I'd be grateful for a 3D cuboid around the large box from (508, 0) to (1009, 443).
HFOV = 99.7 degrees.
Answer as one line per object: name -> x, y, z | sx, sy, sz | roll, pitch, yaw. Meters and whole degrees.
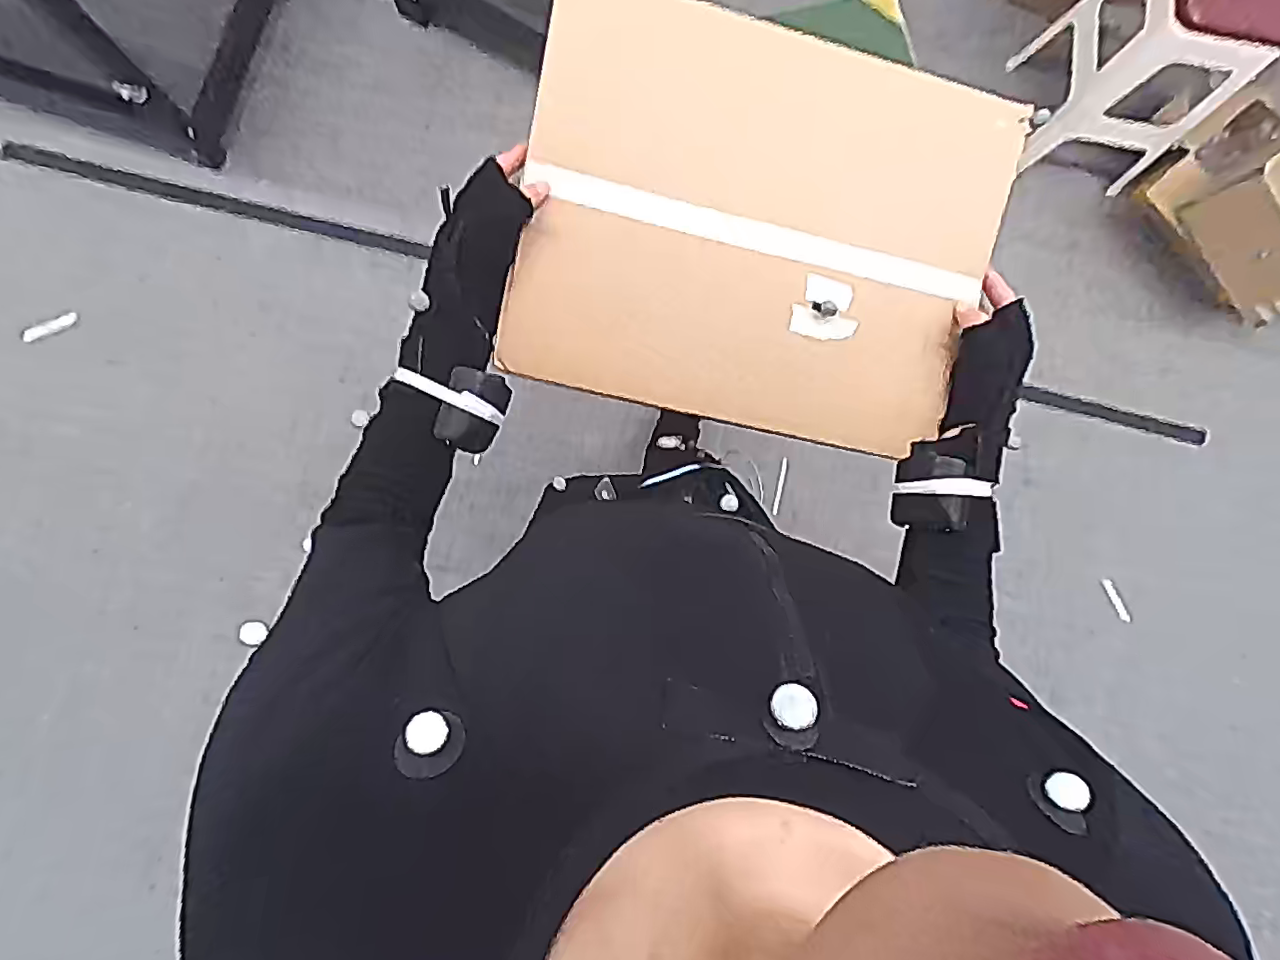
large box -> 0.089, -0.241, 0.619 | 0.408, 0.320, 0.320 | 11, 100, -8
